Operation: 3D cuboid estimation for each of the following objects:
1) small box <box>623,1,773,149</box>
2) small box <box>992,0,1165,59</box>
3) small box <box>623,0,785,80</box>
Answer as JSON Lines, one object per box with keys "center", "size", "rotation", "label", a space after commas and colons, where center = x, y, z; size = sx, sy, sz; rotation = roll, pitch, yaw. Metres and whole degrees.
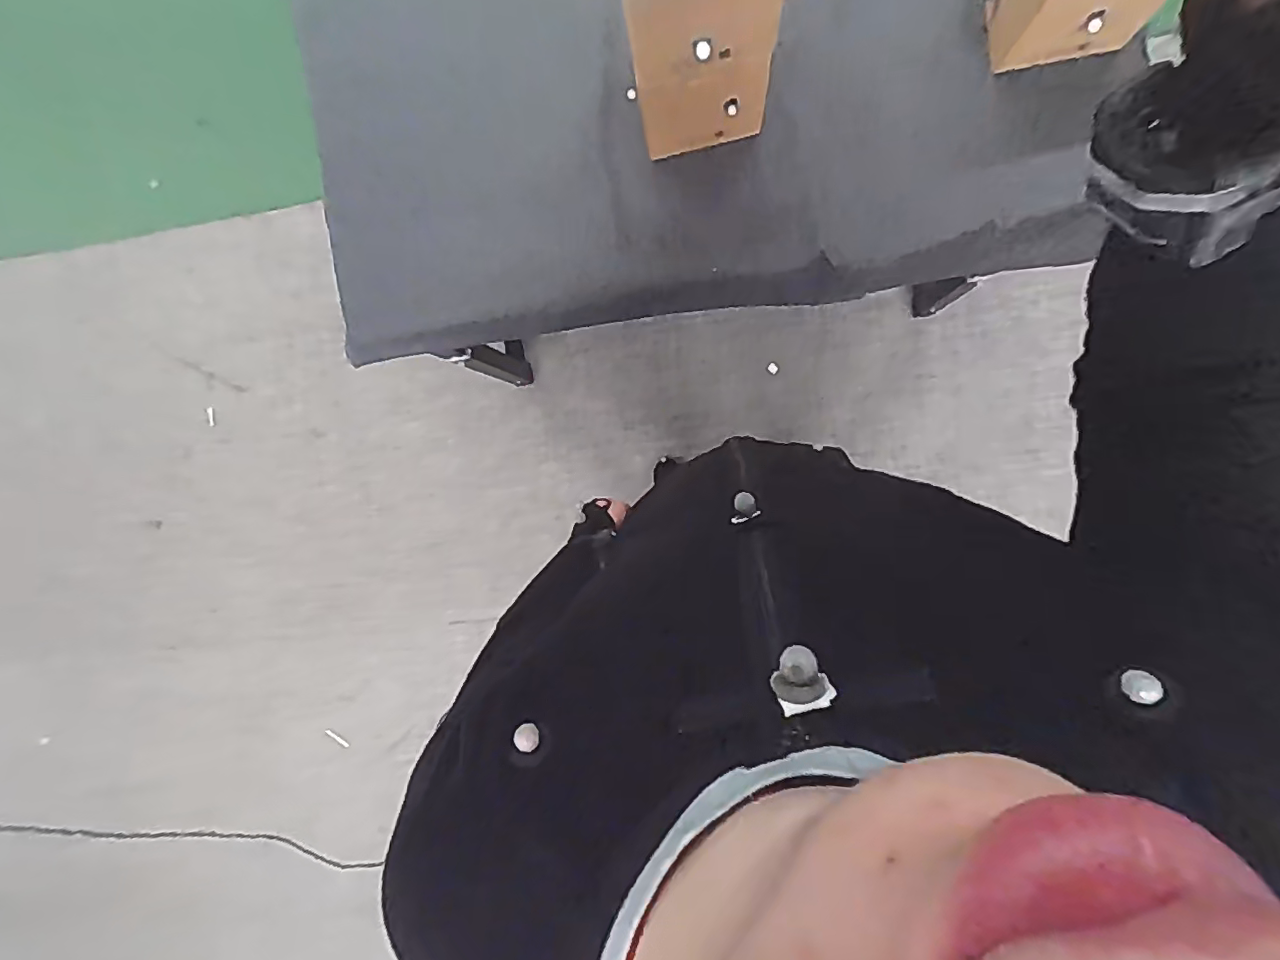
{"center": [0.072, -0.572, 0.713], "size": [0.168, 0.176, 0.179], "rotation": [-10, 90, 6], "label": "small box"}
{"center": [0.548, -0.649, 0.646], "size": [0.168, 0.176, 0.179], "rotation": [-7, 92, 8], "label": "small box"}
{"center": [0.055, -0.564, 0.549], "size": [0.168, 0.176, 0.179], "rotation": [-11, 92, 7], "label": "small box"}
